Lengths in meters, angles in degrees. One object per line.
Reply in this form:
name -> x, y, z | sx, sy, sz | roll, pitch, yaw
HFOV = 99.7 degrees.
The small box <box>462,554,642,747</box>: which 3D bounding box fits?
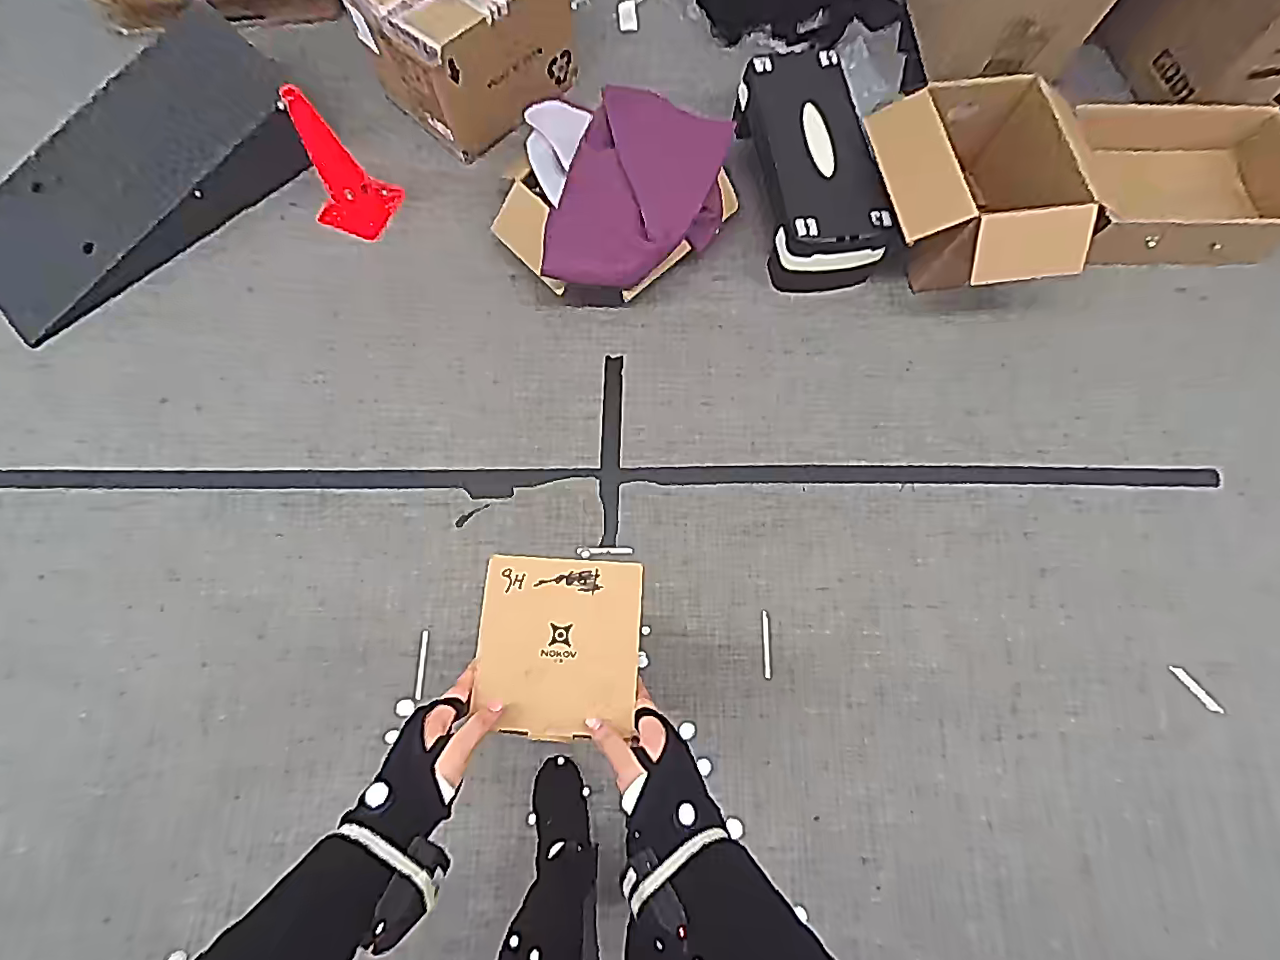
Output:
small box -> -0.085, 0.186, 0.614 | 0.168, 0.176, 0.179 | 4, 75, 0
